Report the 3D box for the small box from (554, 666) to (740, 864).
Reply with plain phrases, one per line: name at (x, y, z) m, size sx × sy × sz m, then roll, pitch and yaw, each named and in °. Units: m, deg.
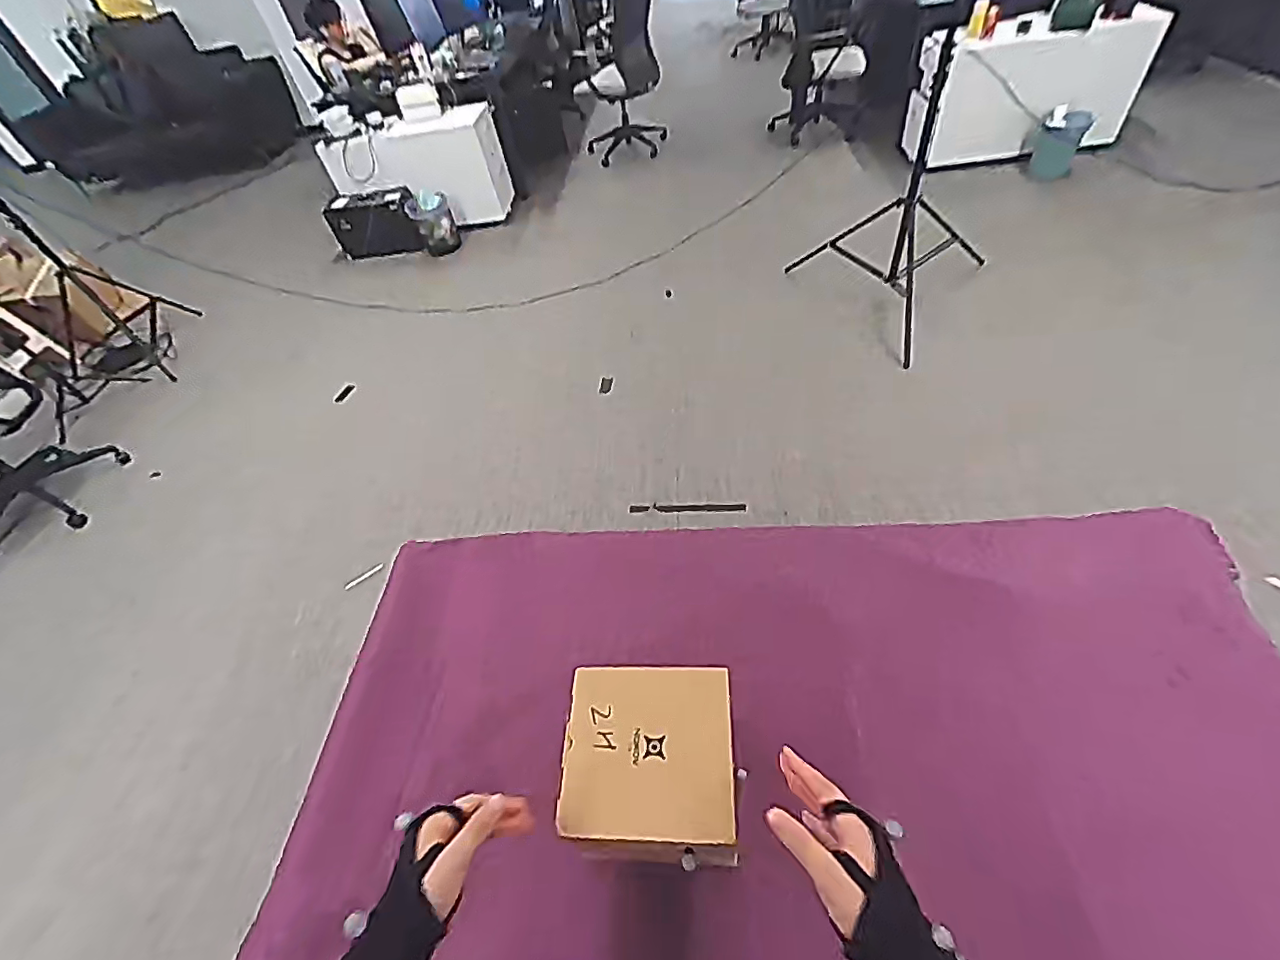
small box at (0.019, 0.324, 0.613) m, size 0.179 × 0.176 × 0.168 m, roll -3°, pitch 49°, yaw 8°
